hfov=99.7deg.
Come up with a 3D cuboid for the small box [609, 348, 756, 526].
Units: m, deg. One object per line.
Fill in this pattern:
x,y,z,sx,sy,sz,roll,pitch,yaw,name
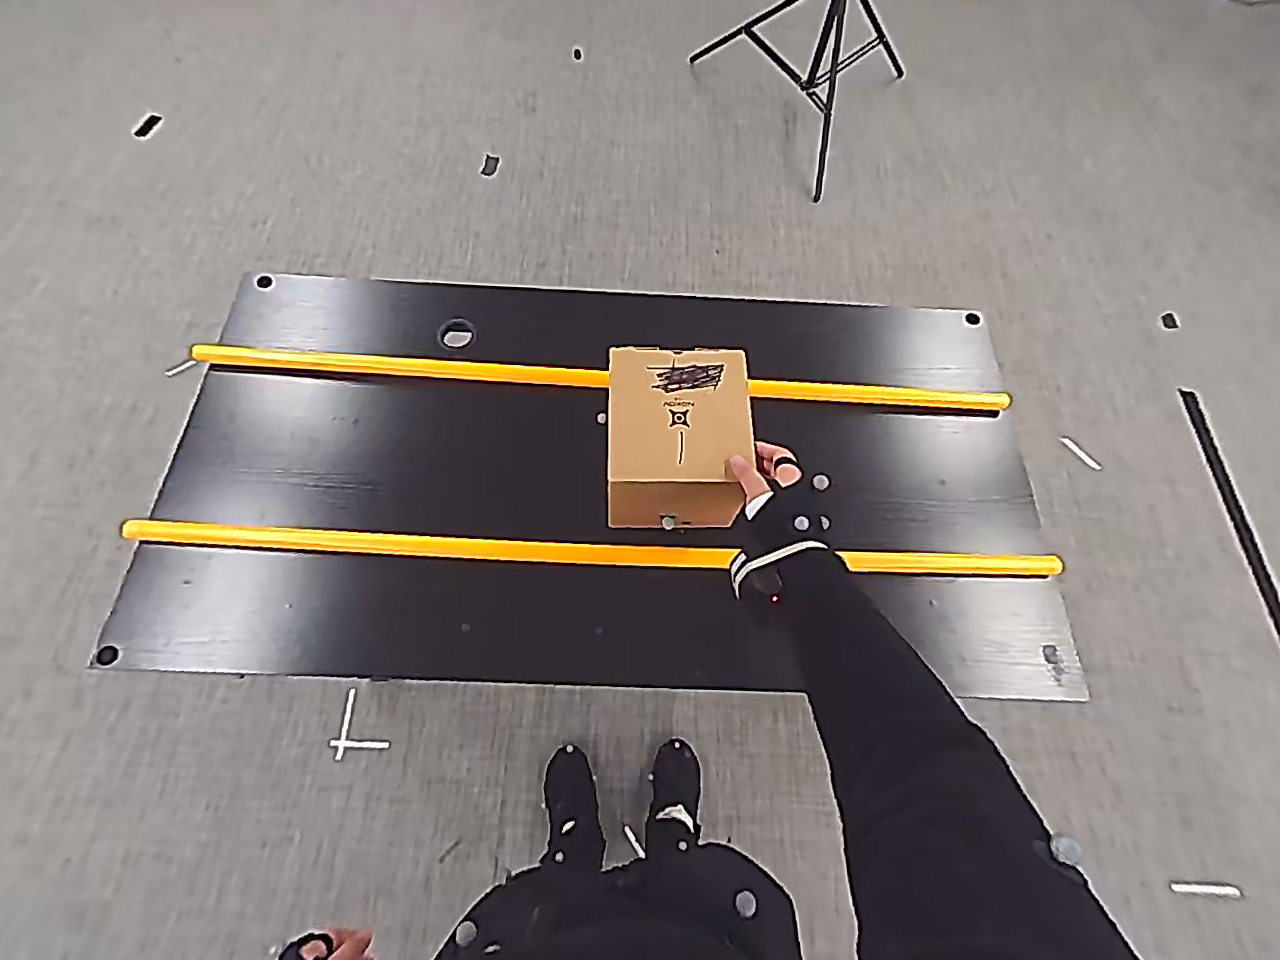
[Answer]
0.044,-0.049,0.701,0.168,0.176,0.179,0,68,-2,small box
